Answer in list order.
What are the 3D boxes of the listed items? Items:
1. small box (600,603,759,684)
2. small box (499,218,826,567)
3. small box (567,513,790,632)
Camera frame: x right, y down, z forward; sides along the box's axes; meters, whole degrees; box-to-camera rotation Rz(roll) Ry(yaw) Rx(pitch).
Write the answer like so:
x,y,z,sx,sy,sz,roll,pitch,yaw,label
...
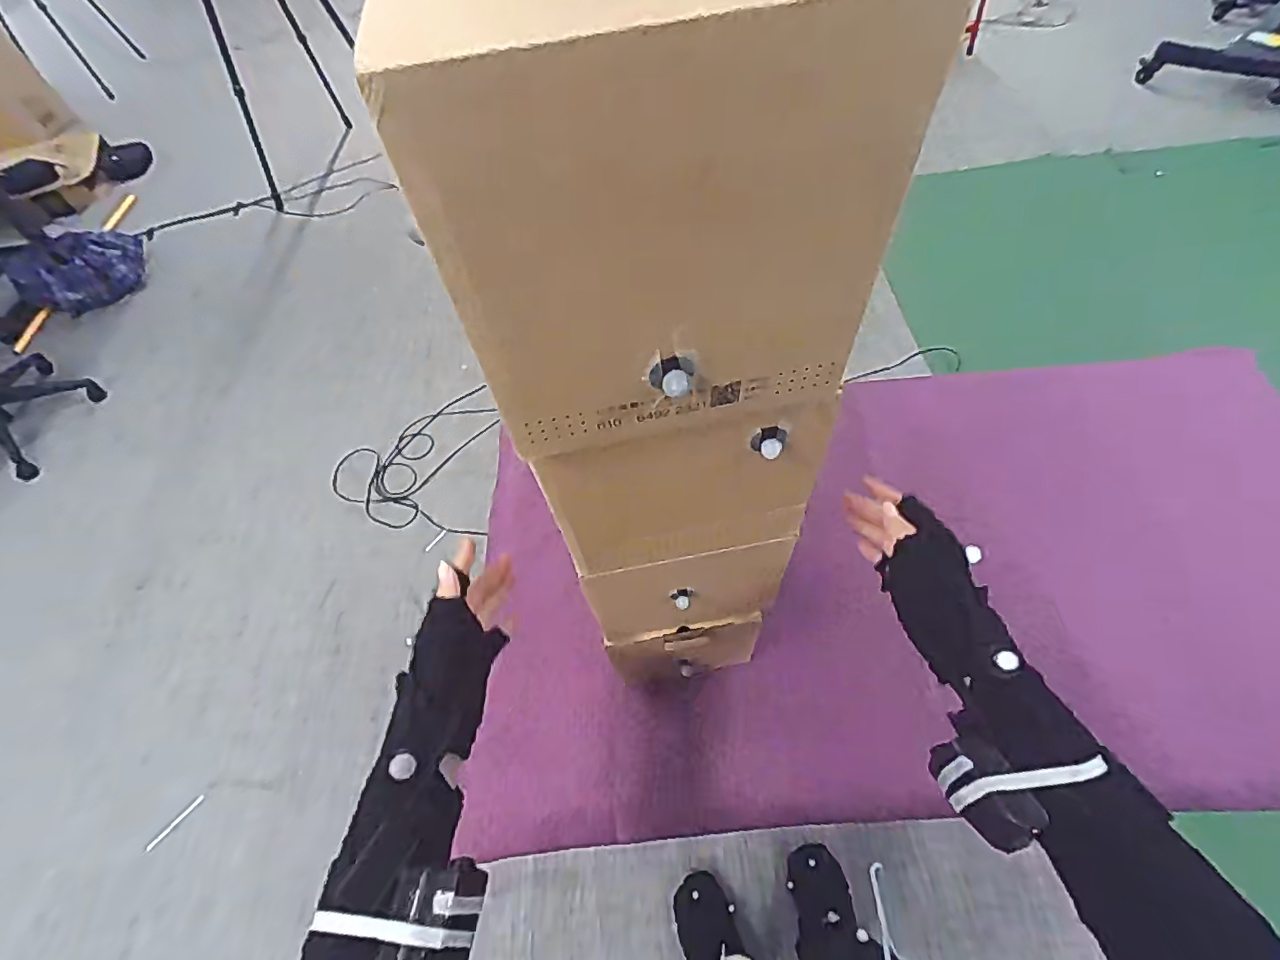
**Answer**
x,y,z,sx,sy,sz,roll,pitch,yaw,label
0.036,0.129,0.661,0.168,0.176,0.179,-11,56,0,small box
0.009,-0.053,0.391,0.179,0.176,0.168,-11,56,-2,small box
0.027,0.034,0.525,0.179,0.176,0.168,-8,55,0,small box
